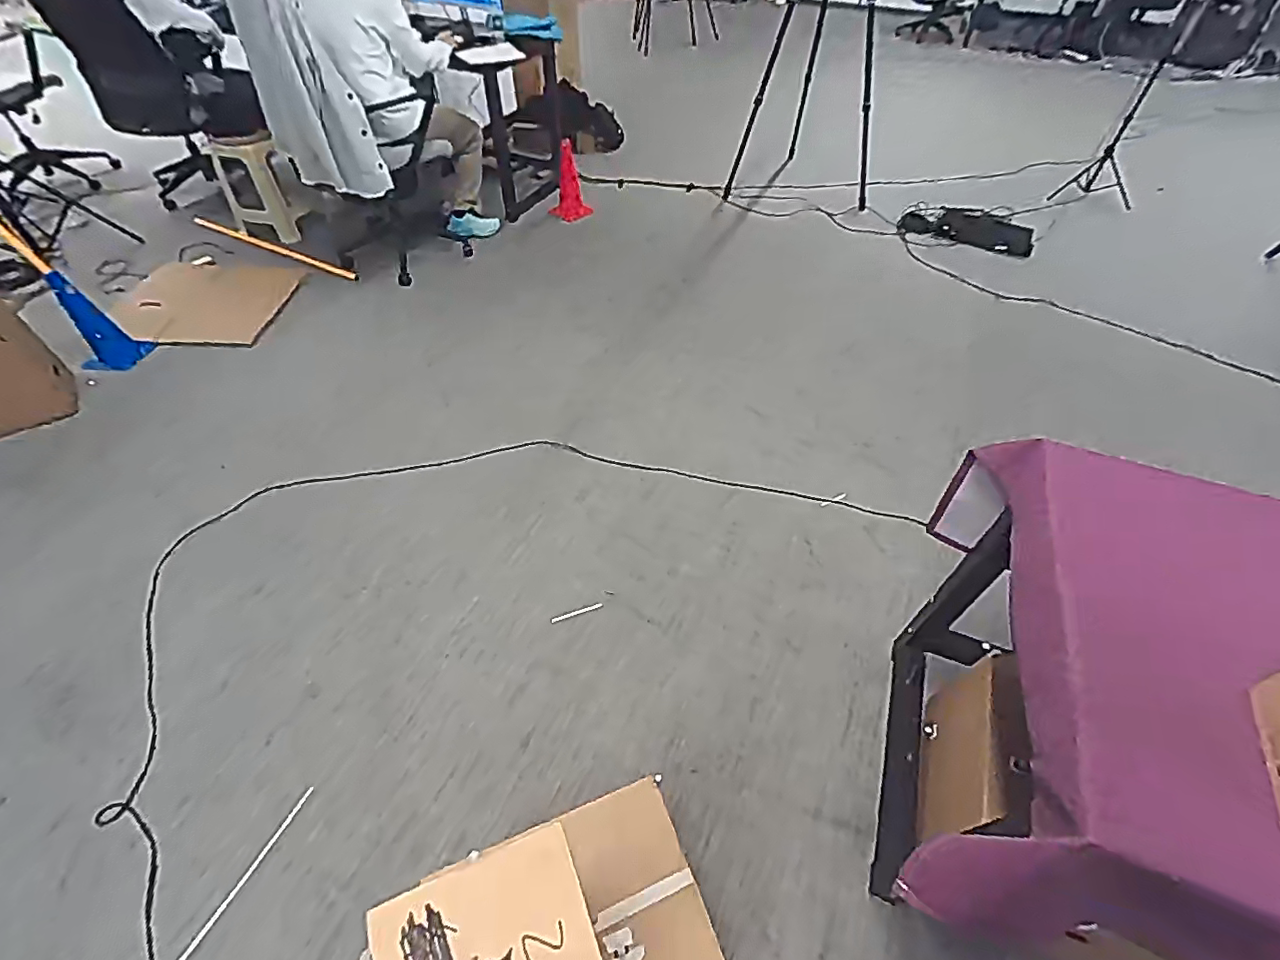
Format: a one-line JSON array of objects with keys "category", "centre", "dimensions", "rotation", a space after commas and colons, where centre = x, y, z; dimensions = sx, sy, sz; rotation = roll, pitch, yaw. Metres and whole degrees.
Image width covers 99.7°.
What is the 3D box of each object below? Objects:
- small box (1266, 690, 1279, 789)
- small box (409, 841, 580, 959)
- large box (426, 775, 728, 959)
[{"category": "small box", "centre": [0.744, 0.274, 0.491], "dimensions": [0.179, 0.176, 0.168], "rotation": [20, 52, 17]}, {"category": "small box", "centre": [-0.185, 0.627, 0.728], "dimensions": [0.179, 0.176, 0.168], "rotation": [-20, 51, -17]}, {"category": "large box", "centre": [-0.101, 0.780, 0.922], "dimensions": [0.408, 0.320, 0.320], "rotation": [-16, 52, -15]}]
